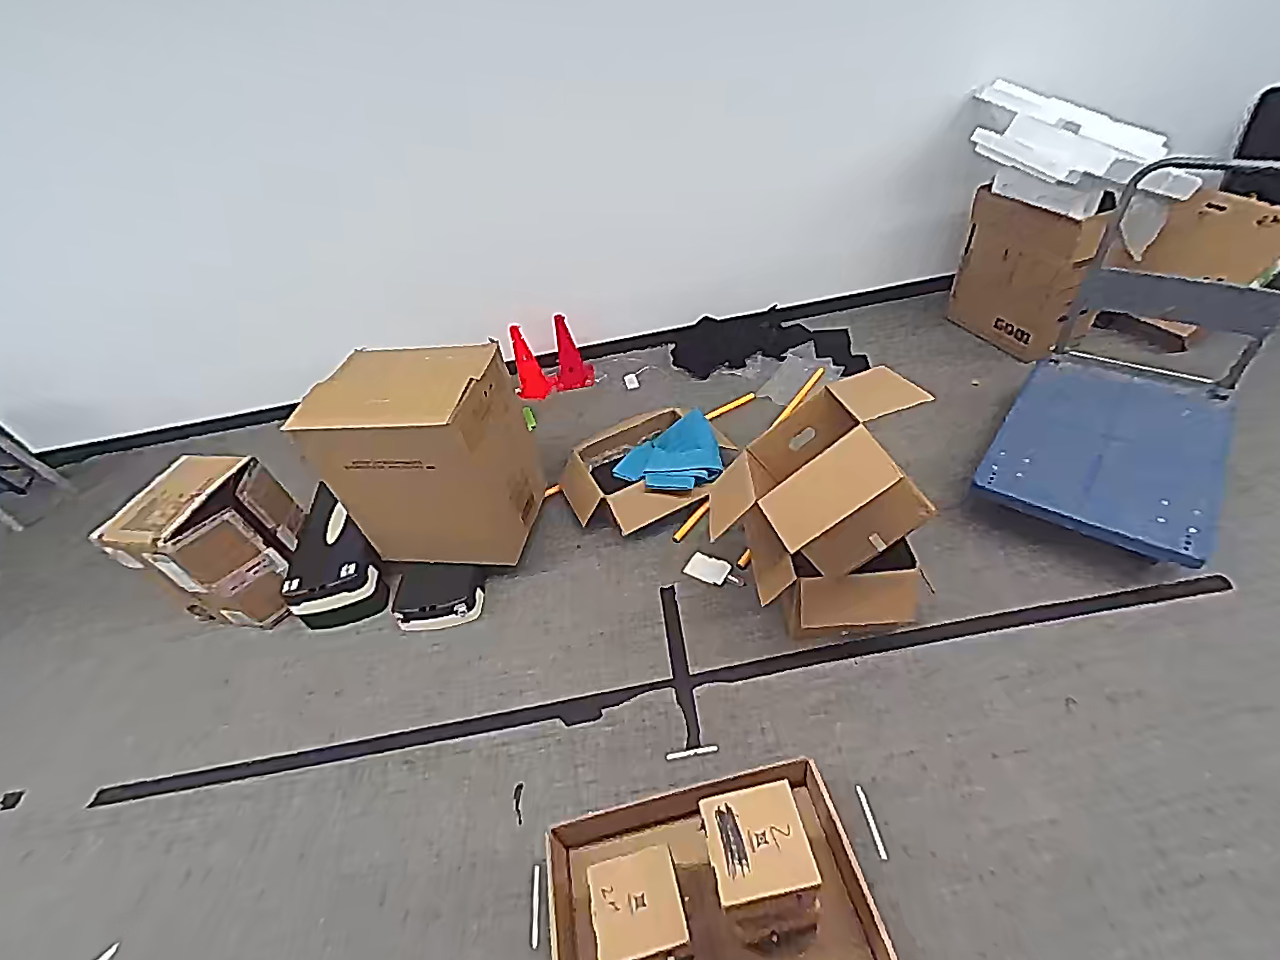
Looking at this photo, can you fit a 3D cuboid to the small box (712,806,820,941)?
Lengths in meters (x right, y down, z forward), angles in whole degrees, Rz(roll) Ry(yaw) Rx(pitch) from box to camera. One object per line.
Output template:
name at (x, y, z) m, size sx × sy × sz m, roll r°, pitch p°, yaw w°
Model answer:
small box at (0.254, 0.814, 1.117) m, size 0.168 × 0.176 × 0.179 m, roll -15°, pitch 43°, yaw -2°

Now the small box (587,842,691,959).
small box at (0.002, 0.874, 1.103) m, size 0.179 × 0.176 × 0.168 m, roll -14°, pitch 42°, yaw -5°
